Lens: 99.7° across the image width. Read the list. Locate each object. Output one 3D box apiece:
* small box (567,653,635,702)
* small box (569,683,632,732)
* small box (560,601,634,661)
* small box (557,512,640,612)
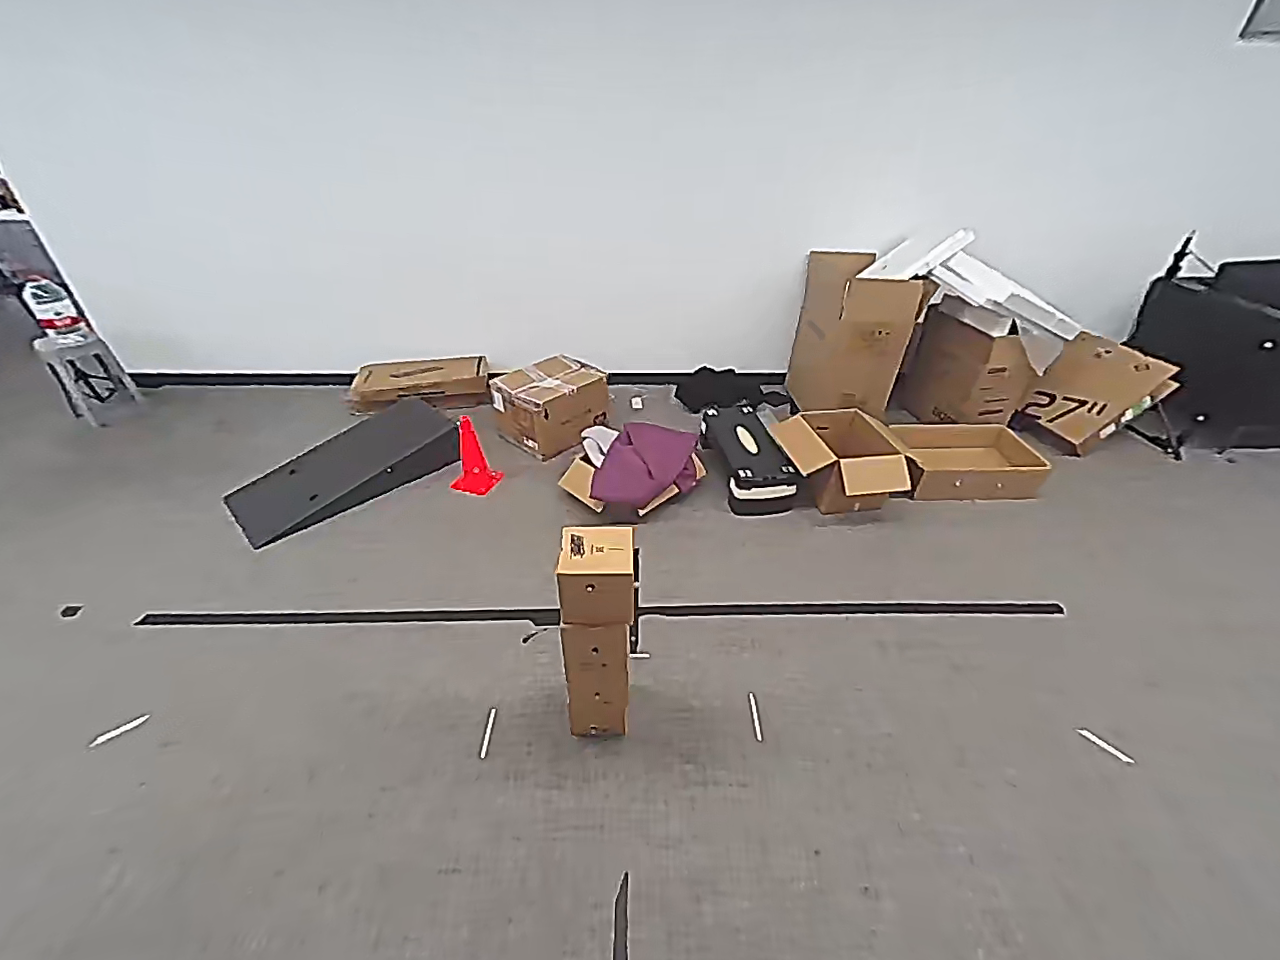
[{"bbox_3d":[-0.099,0.462,1.435,0.168,0.176,0.179,-1,36,0],"label":"small box"},{"bbox_3d":[-0.108,0.592,1.538,0.168,0.176,0.179,-1,37,-1],"label":"small box"},{"bbox_3d":[-0.098,0.330,1.338,0.168,0.176,0.179,0,36,0],"label":"small box"},{"bbox_3d":[-0.090,0.190,1.250,0.179,0.176,0.168,-1,35,-2],"label":"small box"}]
